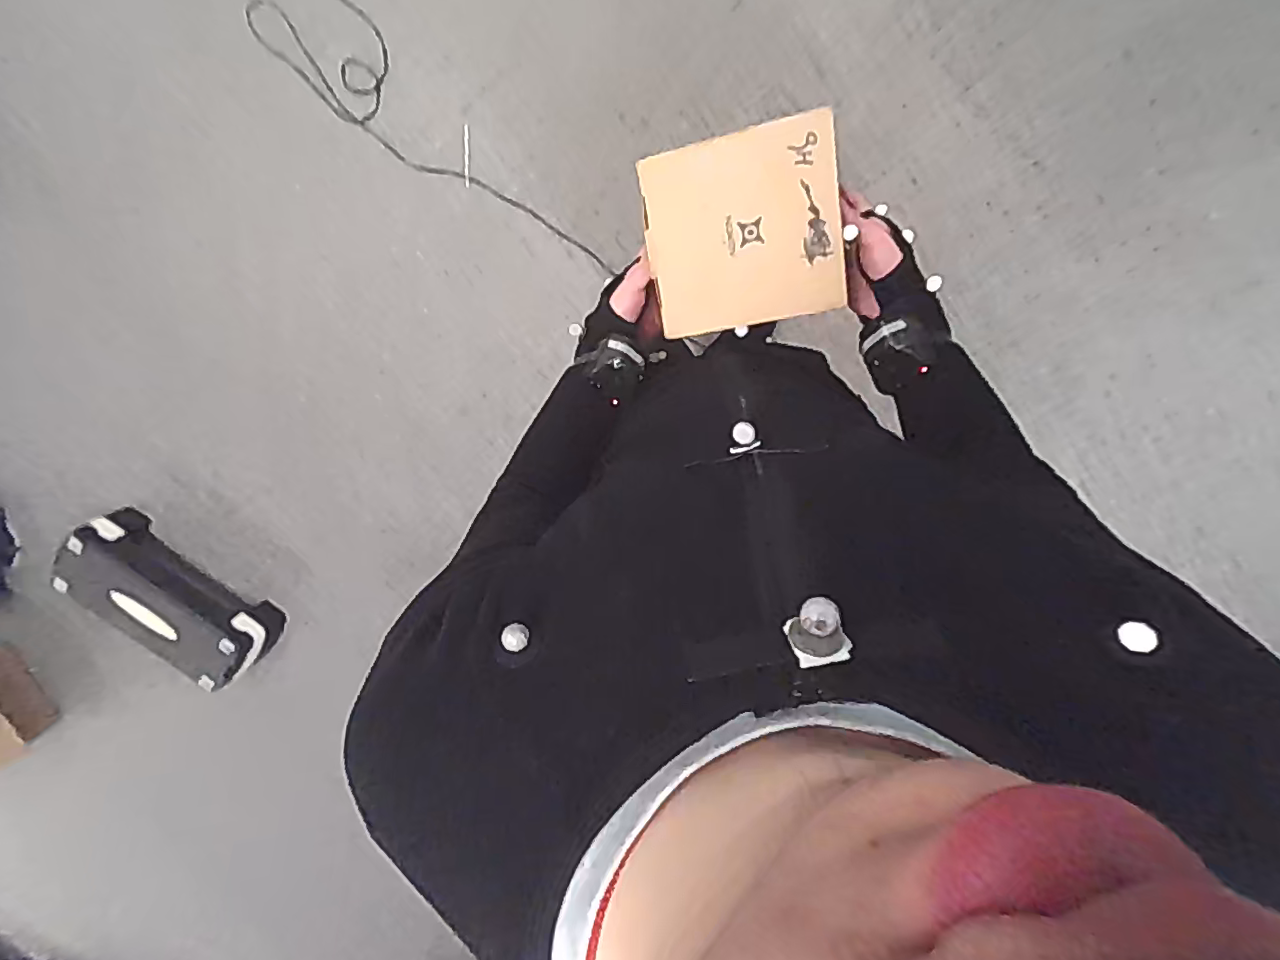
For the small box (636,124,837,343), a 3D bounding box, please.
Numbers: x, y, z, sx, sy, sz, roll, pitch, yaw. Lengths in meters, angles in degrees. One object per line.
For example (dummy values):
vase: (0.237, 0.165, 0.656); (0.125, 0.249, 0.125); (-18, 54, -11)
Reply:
small box: (0.111, -0.246, 0.579); (0.179, 0.176, 0.168); (-5, 108, 17)
